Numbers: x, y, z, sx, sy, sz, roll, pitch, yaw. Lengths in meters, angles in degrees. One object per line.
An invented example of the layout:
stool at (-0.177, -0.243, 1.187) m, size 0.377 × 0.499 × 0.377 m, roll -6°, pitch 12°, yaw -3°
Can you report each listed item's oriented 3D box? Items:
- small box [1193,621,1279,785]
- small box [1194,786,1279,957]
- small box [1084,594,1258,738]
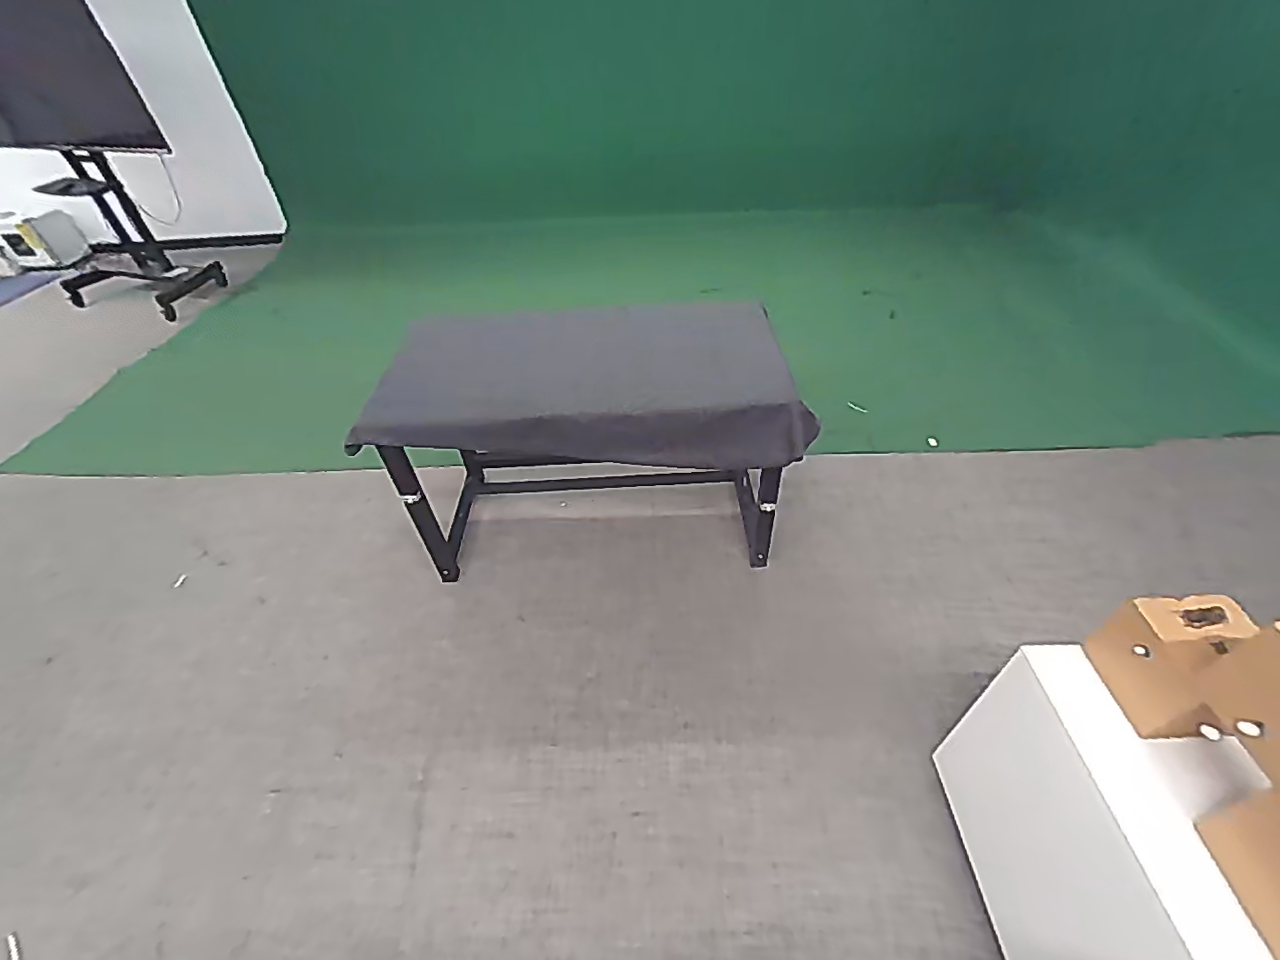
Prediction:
small box at (0.905, 0.297, 0.697) m, size 0.168 × 0.176 × 0.179 m, roll -3°, pitch 45°, yaw 0°
small box at (0.906, 0.521, 0.699) m, size 0.168 × 0.176 × 0.179 m, roll 0°, pitch 41°, yaw 3°
small box at (0.916, 0.314, 0.914) m, size 0.168 × 0.176 × 0.179 m, roll -3°, pitch 45°, yaw 1°
